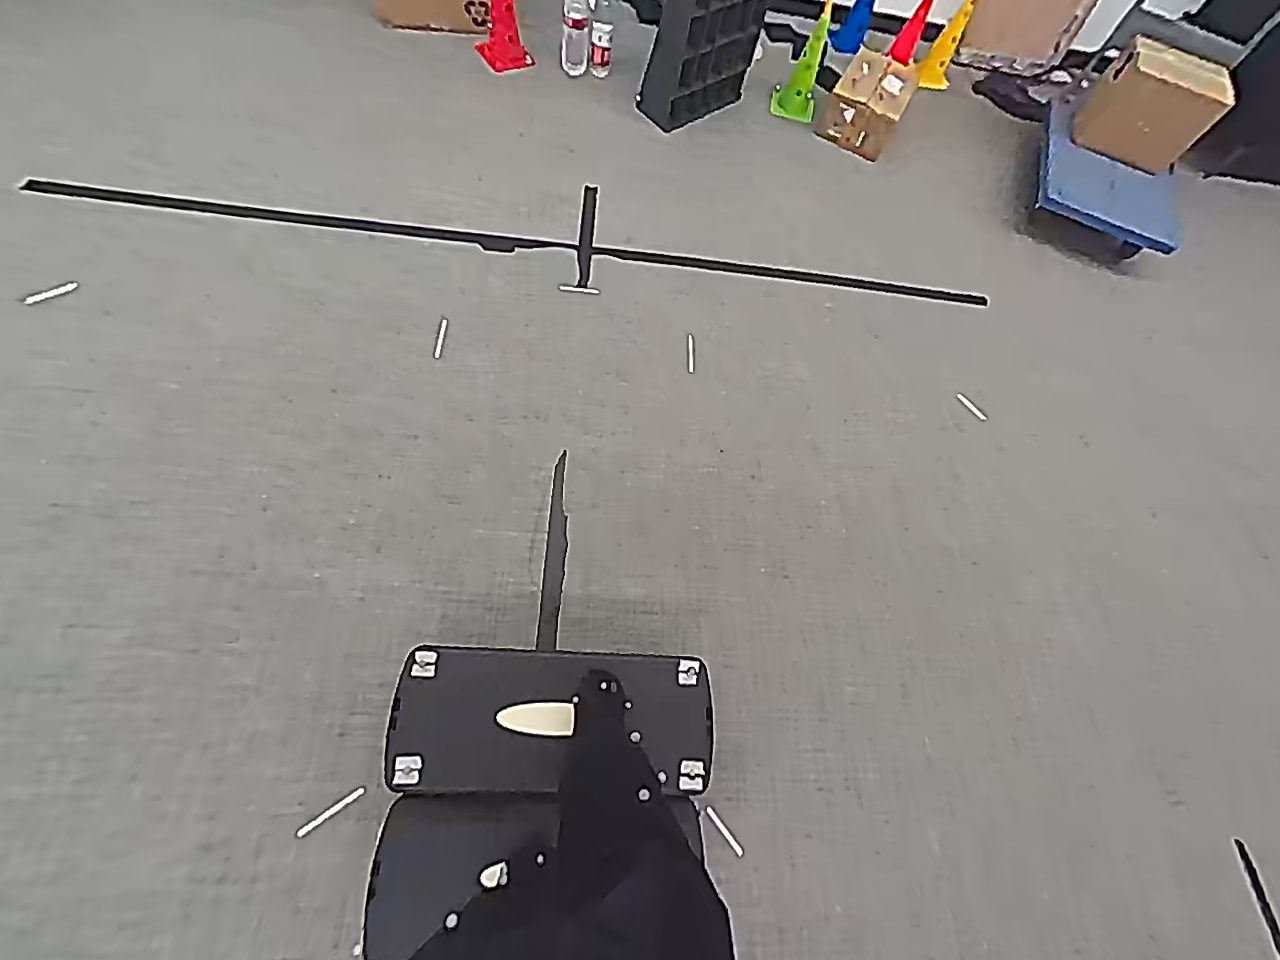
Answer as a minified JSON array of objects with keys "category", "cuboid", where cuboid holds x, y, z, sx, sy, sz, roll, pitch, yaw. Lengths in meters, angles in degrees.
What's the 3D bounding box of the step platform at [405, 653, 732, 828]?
[{"category":"step platform","cuboid":[-0.142,0.568,1.190,0.684,0.204,0.286,9,62,-6]}]
